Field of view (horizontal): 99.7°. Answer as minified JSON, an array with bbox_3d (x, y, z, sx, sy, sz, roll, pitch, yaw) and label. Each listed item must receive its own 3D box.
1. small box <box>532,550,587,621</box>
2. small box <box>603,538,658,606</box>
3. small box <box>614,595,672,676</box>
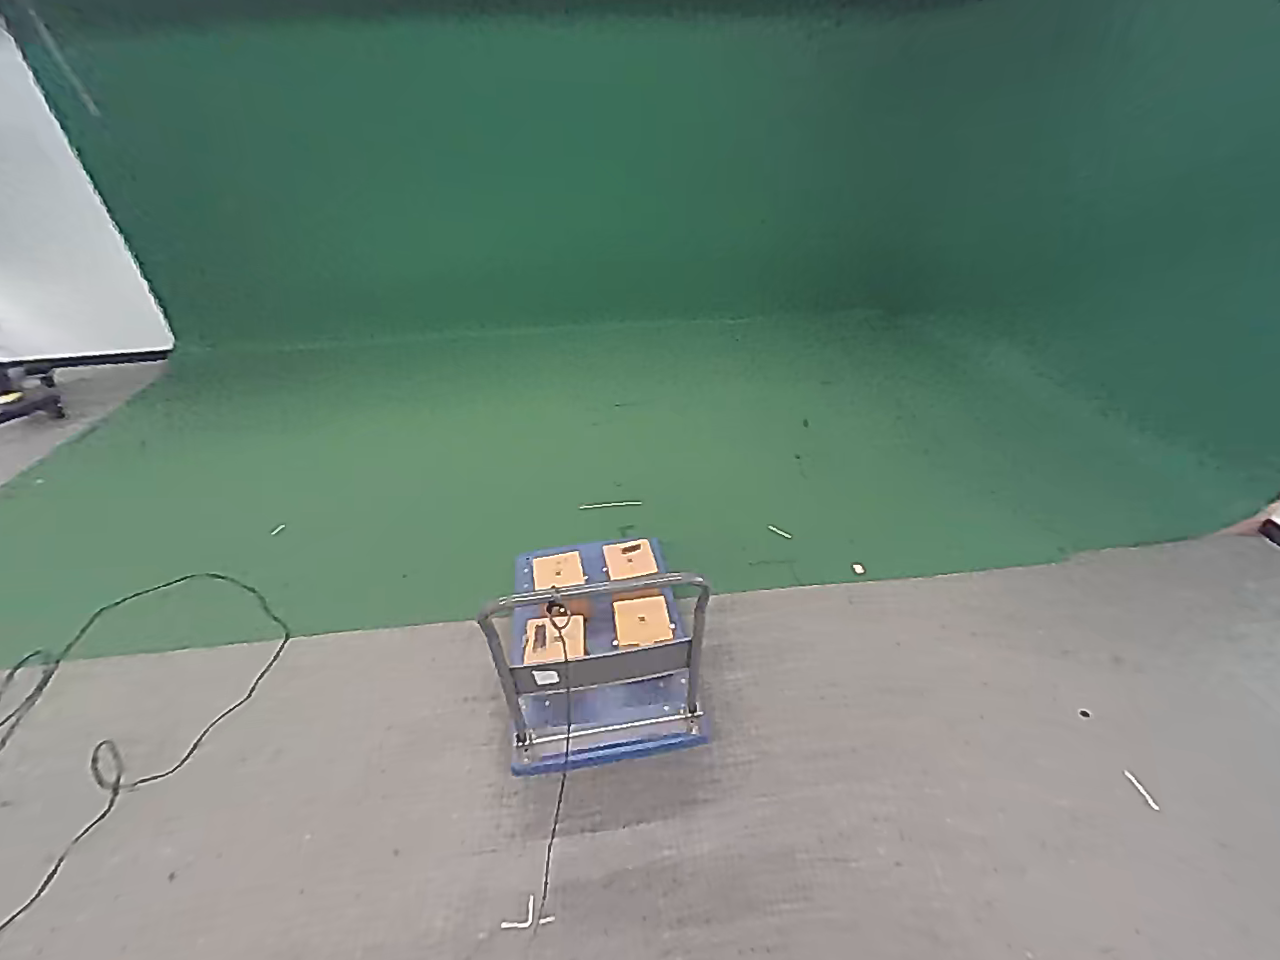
[{"bbox_3d":[-0.282,0.374,1.895,0.168,0.176,0.179,-8,37,-9],"label":"small box"},{"bbox_3d":[-0.036,0.335,1.936,0.168,0.176,0.179,-9,38,-9],"label":"small box"},{"bbox_3d":[0.005,0.494,1.721,0.168,0.176,0.179,-6,38,-5],"label":"small box"}]
